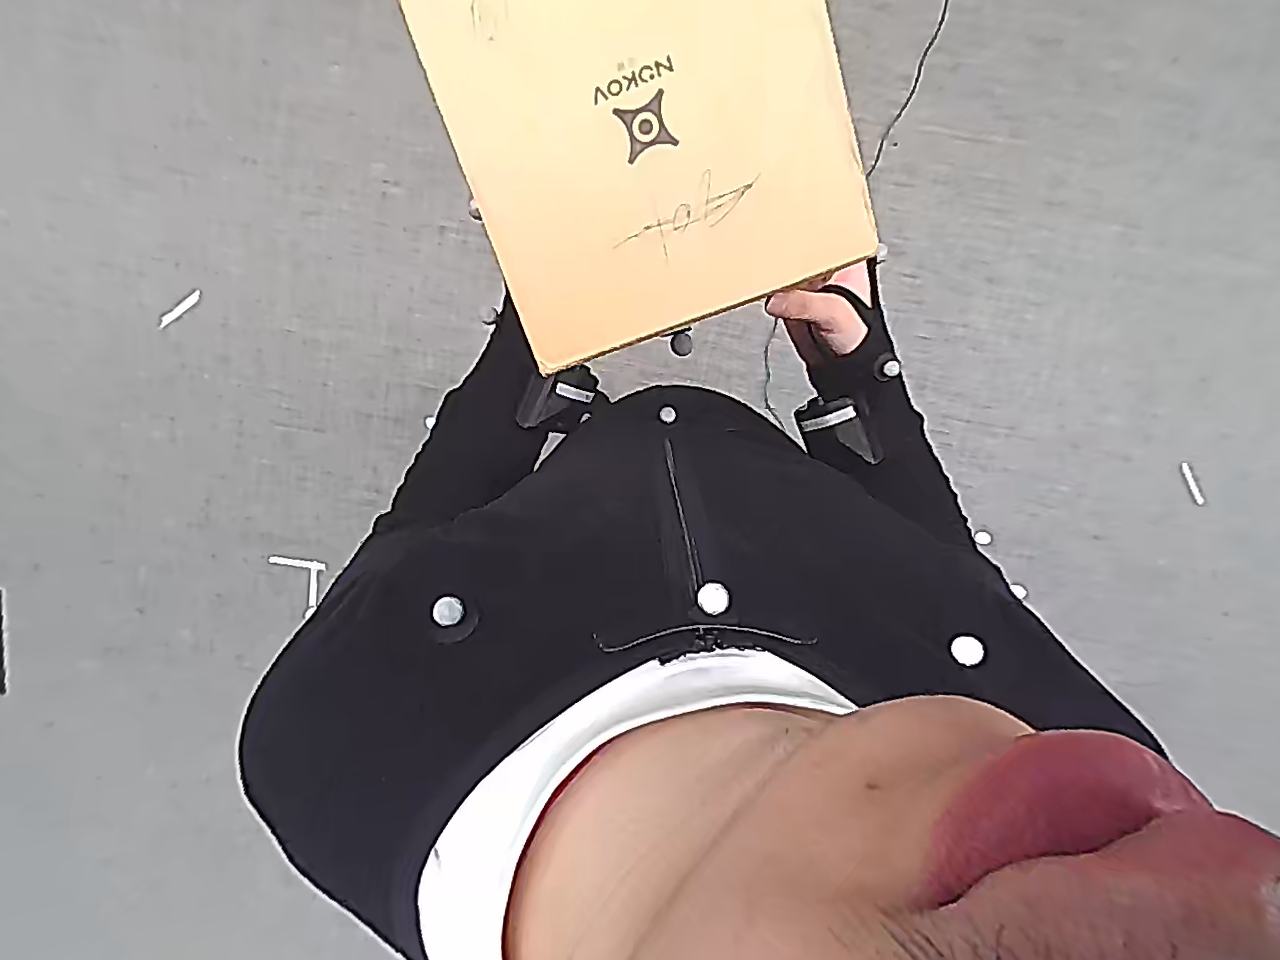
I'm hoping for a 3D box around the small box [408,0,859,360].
[{"bbox_3d":[0.004,-0.182,0.321,0.168,0.176,0.179,-18,104,8],"label":"small box"}]
